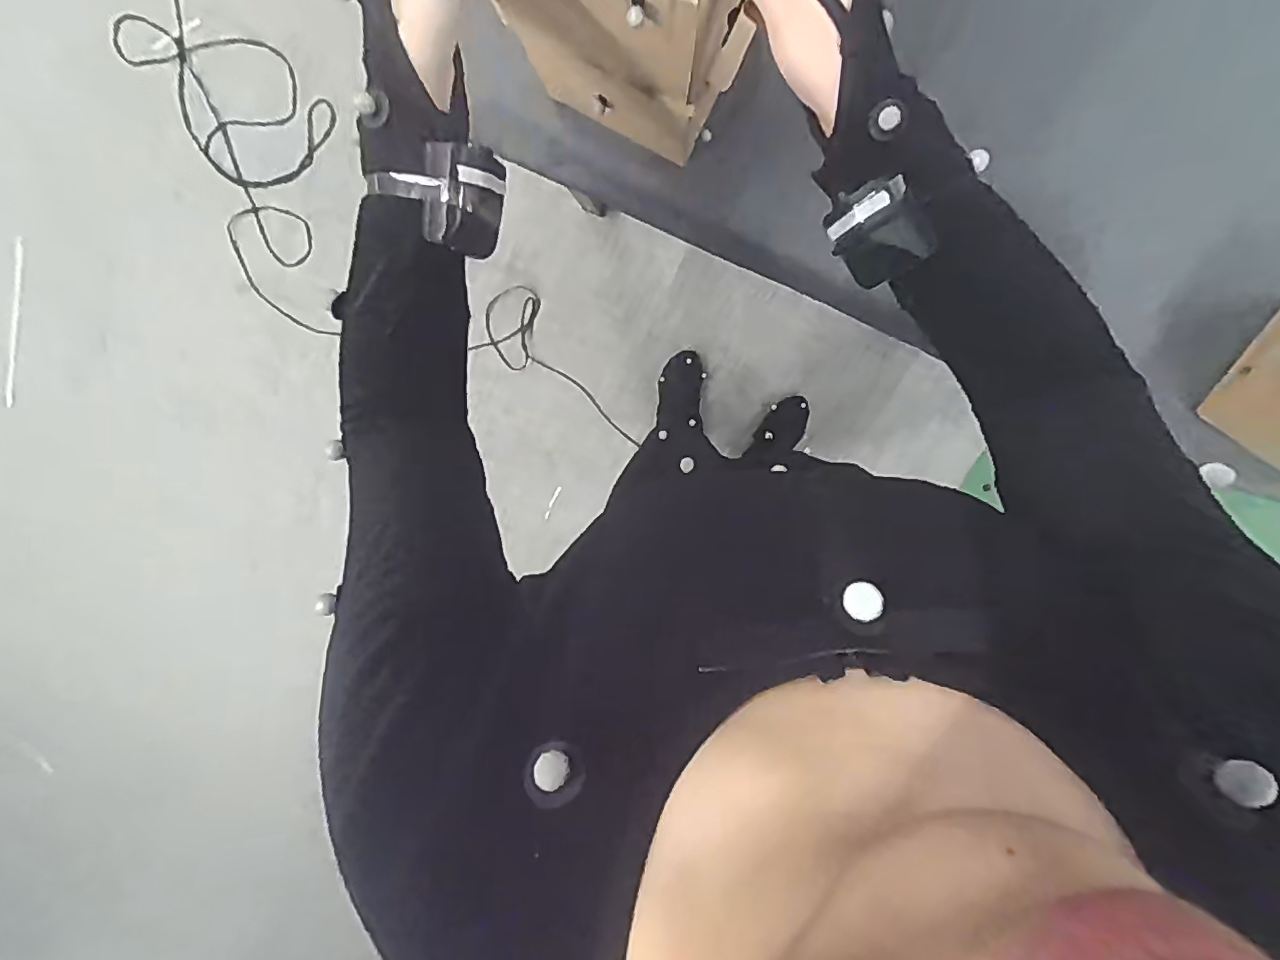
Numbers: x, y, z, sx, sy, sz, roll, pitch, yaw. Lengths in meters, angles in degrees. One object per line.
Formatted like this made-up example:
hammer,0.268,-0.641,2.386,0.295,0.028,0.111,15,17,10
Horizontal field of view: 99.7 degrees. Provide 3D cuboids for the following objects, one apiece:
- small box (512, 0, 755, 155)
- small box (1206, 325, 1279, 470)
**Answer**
small box,0.006,-0.446,0.522,0.179,0.176,0.168,25,107,-5
small box,0.804,-0.089,0.586,0.179,0.176,0.168,30,102,-5
